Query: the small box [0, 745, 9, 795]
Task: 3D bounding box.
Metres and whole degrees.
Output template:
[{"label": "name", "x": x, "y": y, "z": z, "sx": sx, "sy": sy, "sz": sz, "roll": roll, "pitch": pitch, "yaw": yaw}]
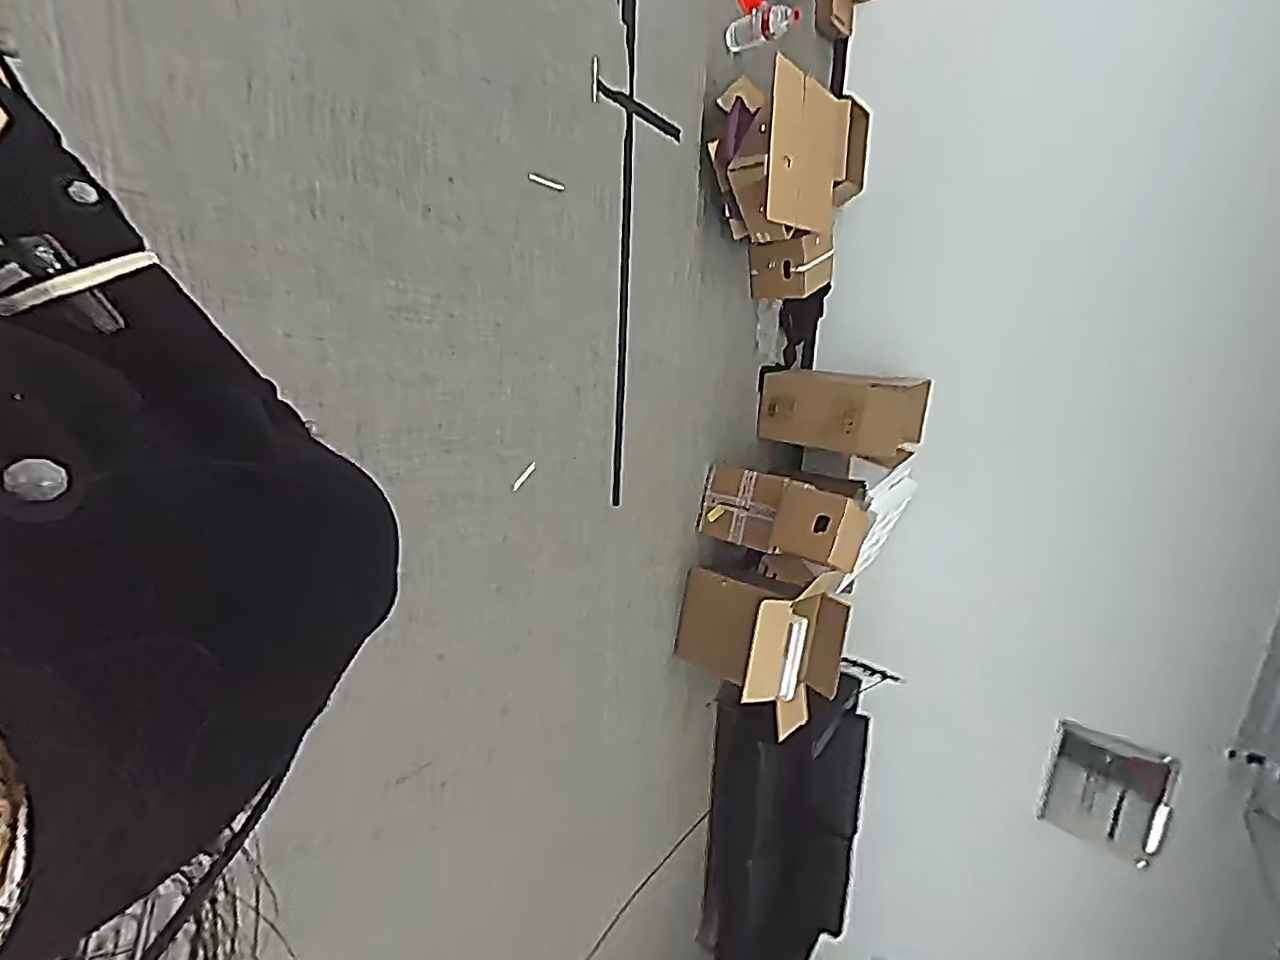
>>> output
[{"label": "small box", "x": -1.105, "y": 0.407, "z": 0.818, "sx": 0.168, "sy": 0.176, "sz": 0.179, "roll": -15, "pitch": 112, "yaw": -50}]
